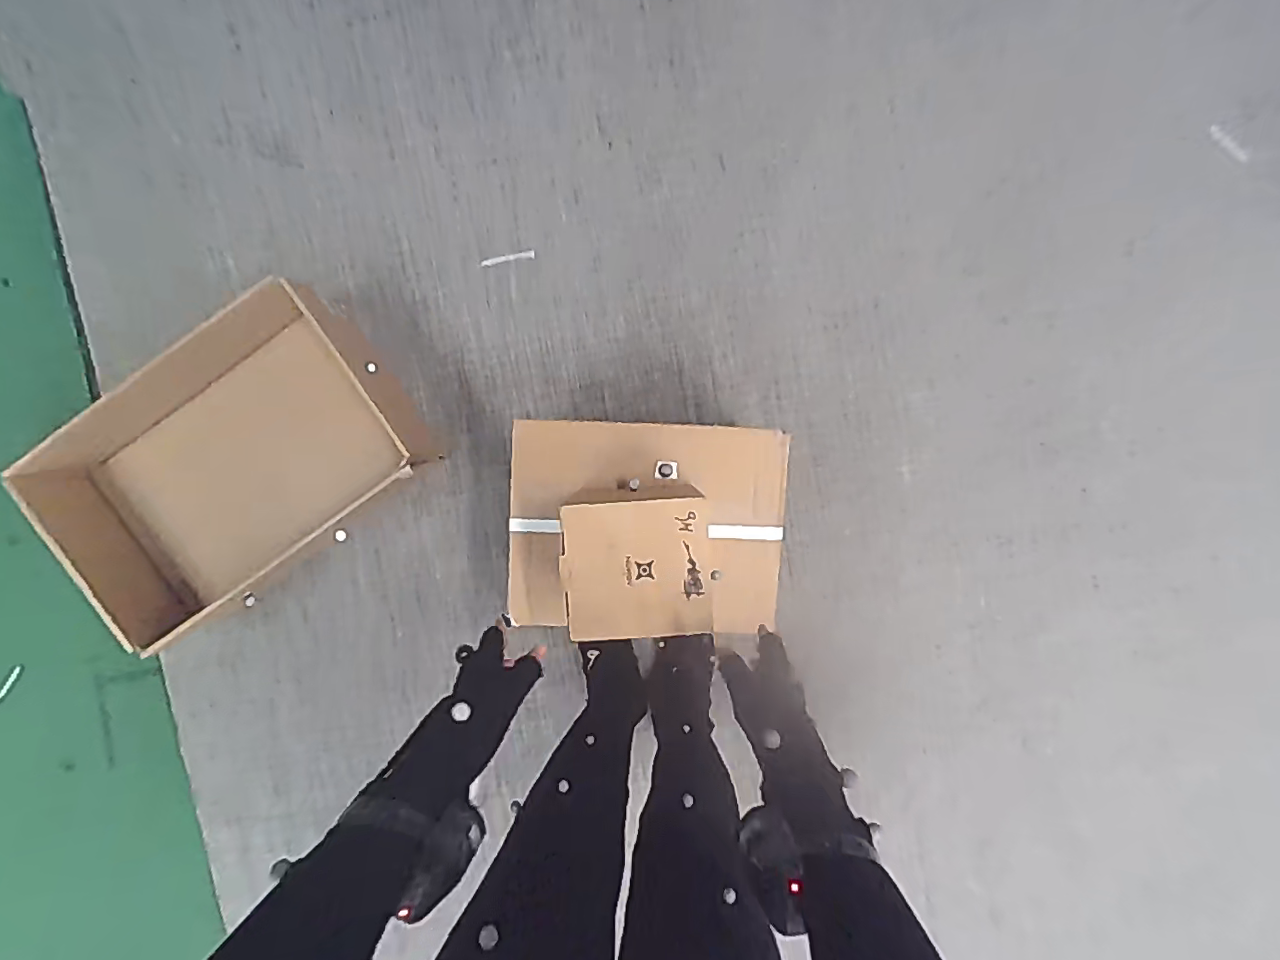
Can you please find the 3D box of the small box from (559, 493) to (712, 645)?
[{"bbox_3d":[-0.002,0.109,0.719,0.179,0.176,0.168,-4,94,1],"label":"small box"}]
